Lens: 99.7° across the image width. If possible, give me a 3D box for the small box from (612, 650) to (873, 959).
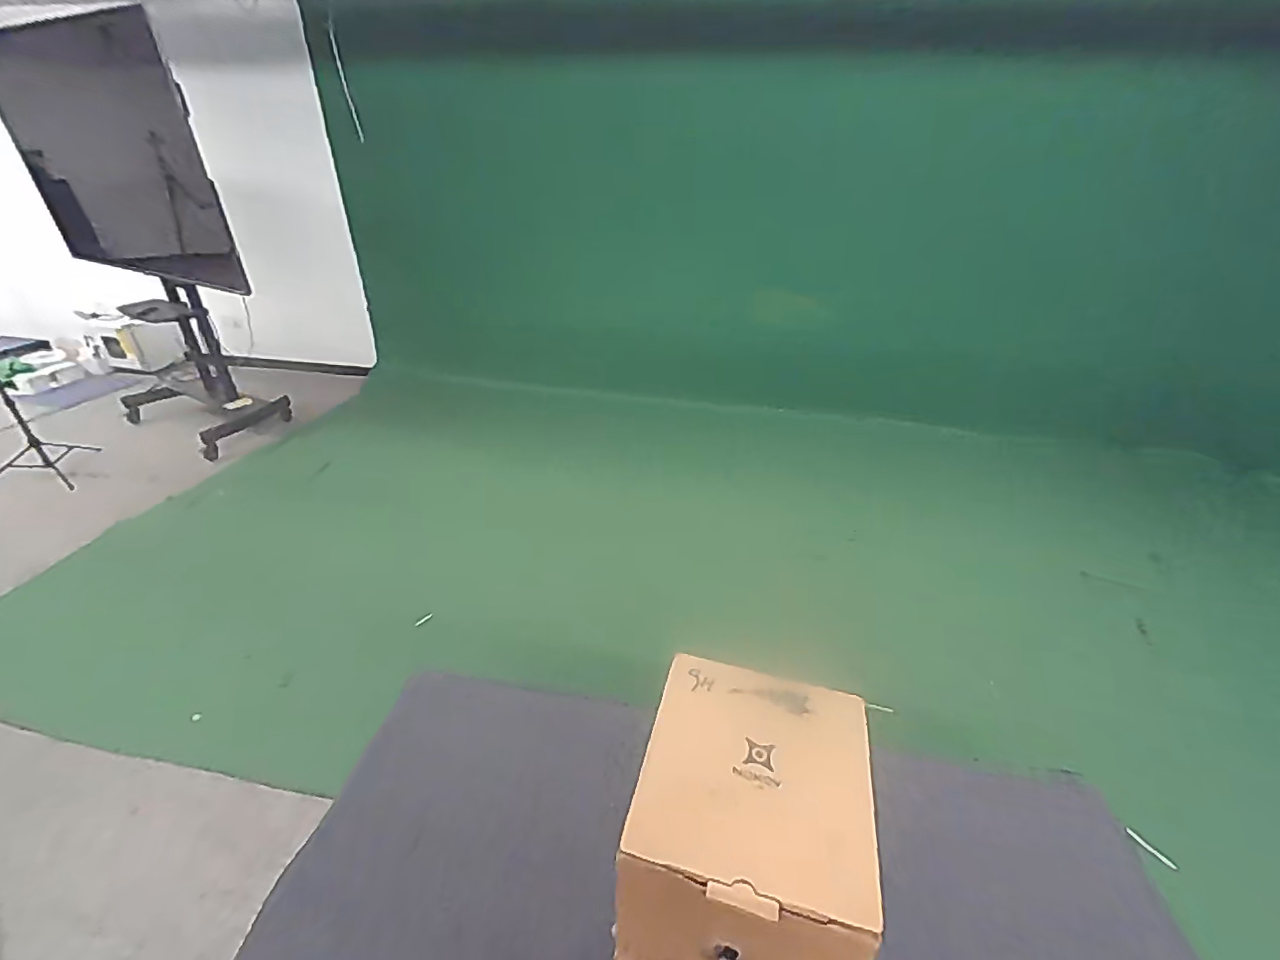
[{"bbox_3d":[0.083,0.279,0.445,0.168,0.176,0.179,10,34,13],"label":"small box"}]
